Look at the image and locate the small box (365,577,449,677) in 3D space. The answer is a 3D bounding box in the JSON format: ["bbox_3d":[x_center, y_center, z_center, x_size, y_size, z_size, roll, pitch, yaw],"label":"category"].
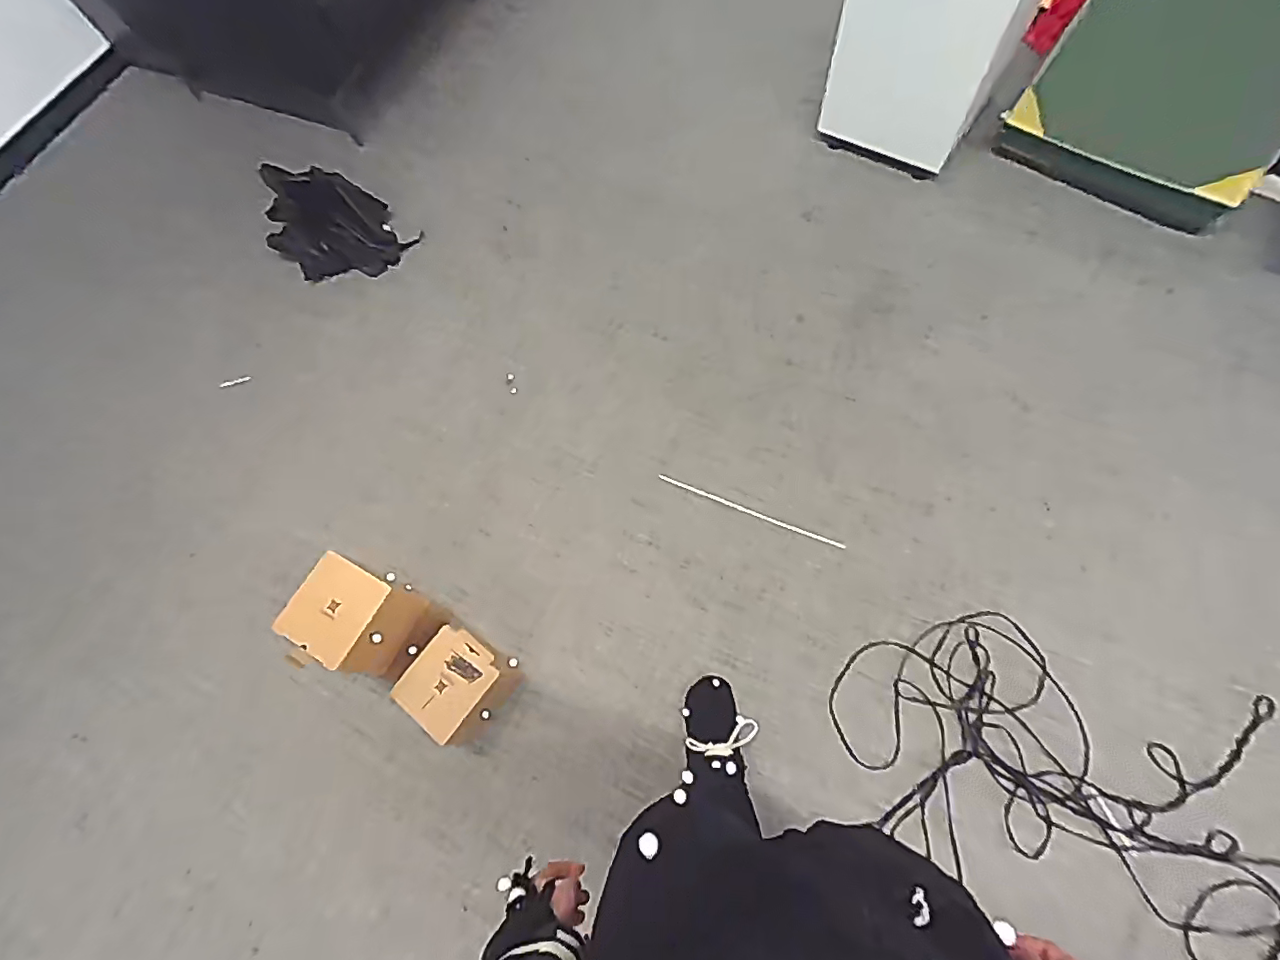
[{"bbox_3d":[-0.572,0.331,1.236,0.168,0.176,0.179,26,74,14],"label":"small box"}]

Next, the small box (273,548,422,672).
[{"bbox_3d":[-0.569,0.266,1.086,0.168,0.176,0.179,26,74,14],"label":"small box"}]
